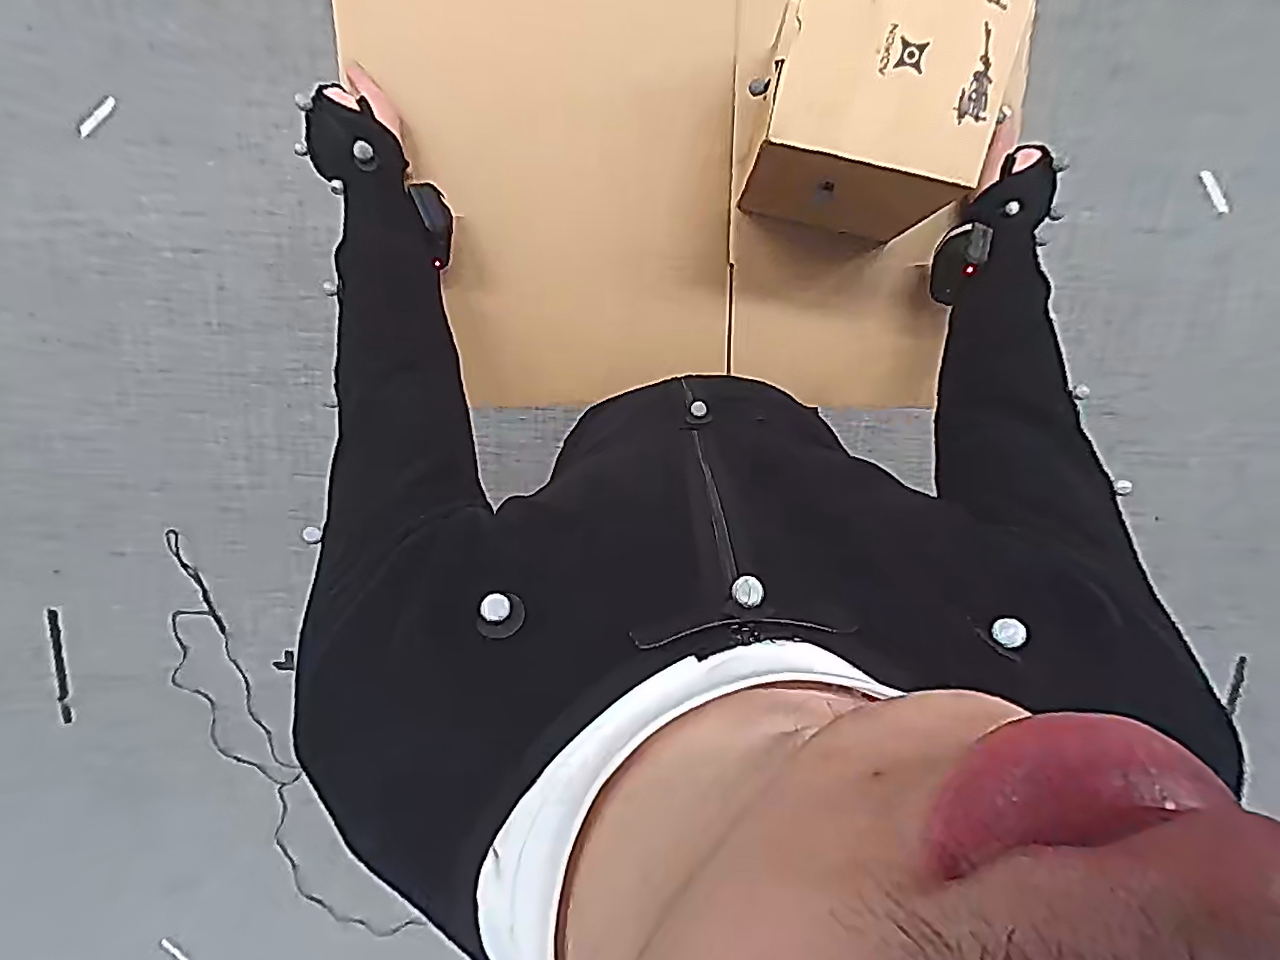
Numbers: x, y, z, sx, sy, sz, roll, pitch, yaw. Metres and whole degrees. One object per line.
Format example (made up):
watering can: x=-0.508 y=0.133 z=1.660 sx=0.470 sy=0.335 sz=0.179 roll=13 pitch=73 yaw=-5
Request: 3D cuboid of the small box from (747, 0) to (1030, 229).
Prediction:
small box: x=0.207 y=-0.352 z=0.500 sx=0.179 sy=0.176 sz=0.168 roll=13 pitch=101 yaw=1
